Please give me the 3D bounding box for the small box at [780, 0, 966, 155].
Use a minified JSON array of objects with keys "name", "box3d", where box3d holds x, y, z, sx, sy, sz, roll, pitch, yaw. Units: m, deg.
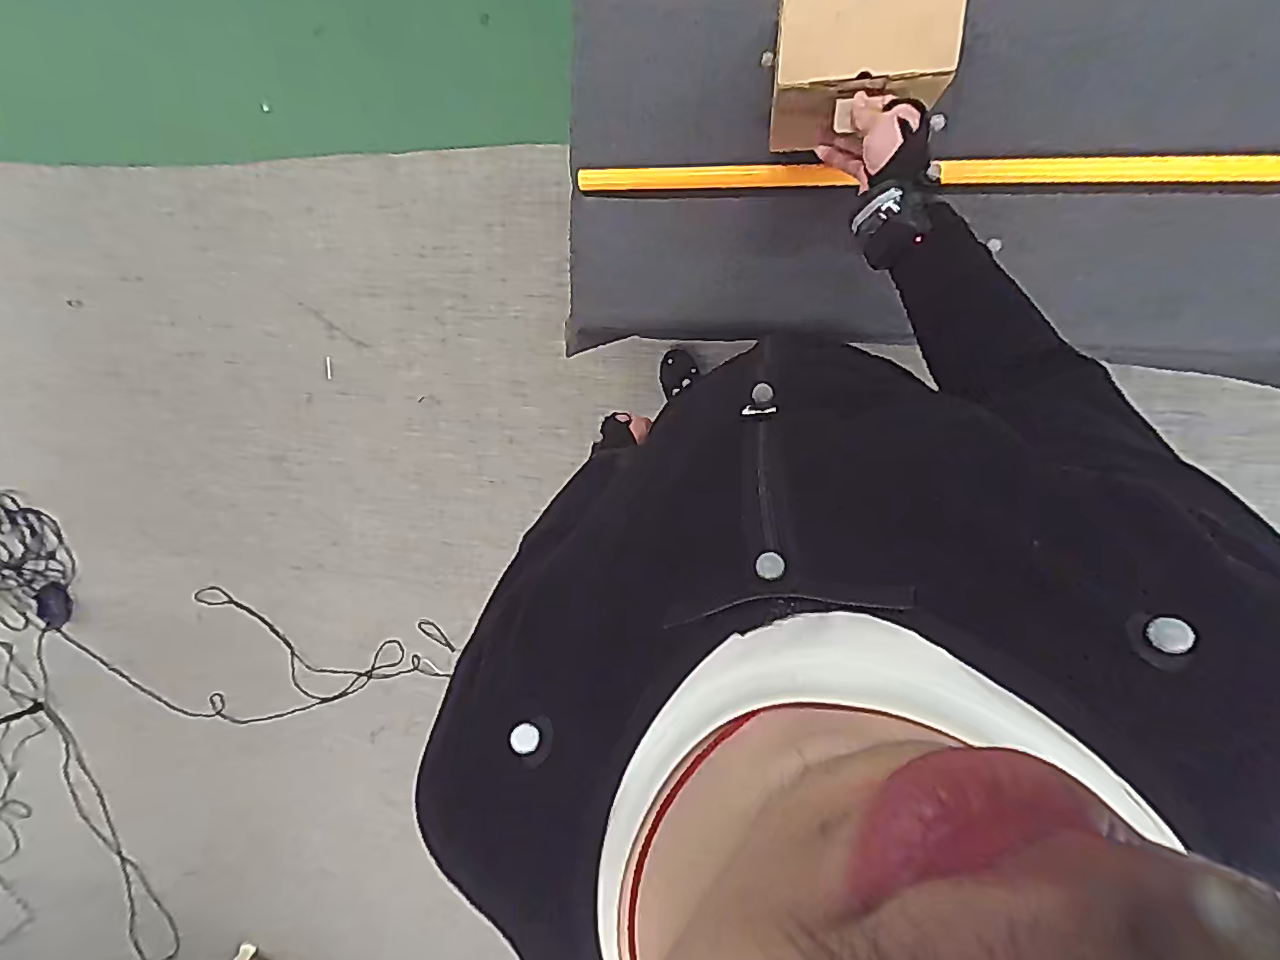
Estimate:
[{"name":"small box","box3d":[0.241,-0.477,0.588,0.168,0.176,0.179,2,101,13]}]
